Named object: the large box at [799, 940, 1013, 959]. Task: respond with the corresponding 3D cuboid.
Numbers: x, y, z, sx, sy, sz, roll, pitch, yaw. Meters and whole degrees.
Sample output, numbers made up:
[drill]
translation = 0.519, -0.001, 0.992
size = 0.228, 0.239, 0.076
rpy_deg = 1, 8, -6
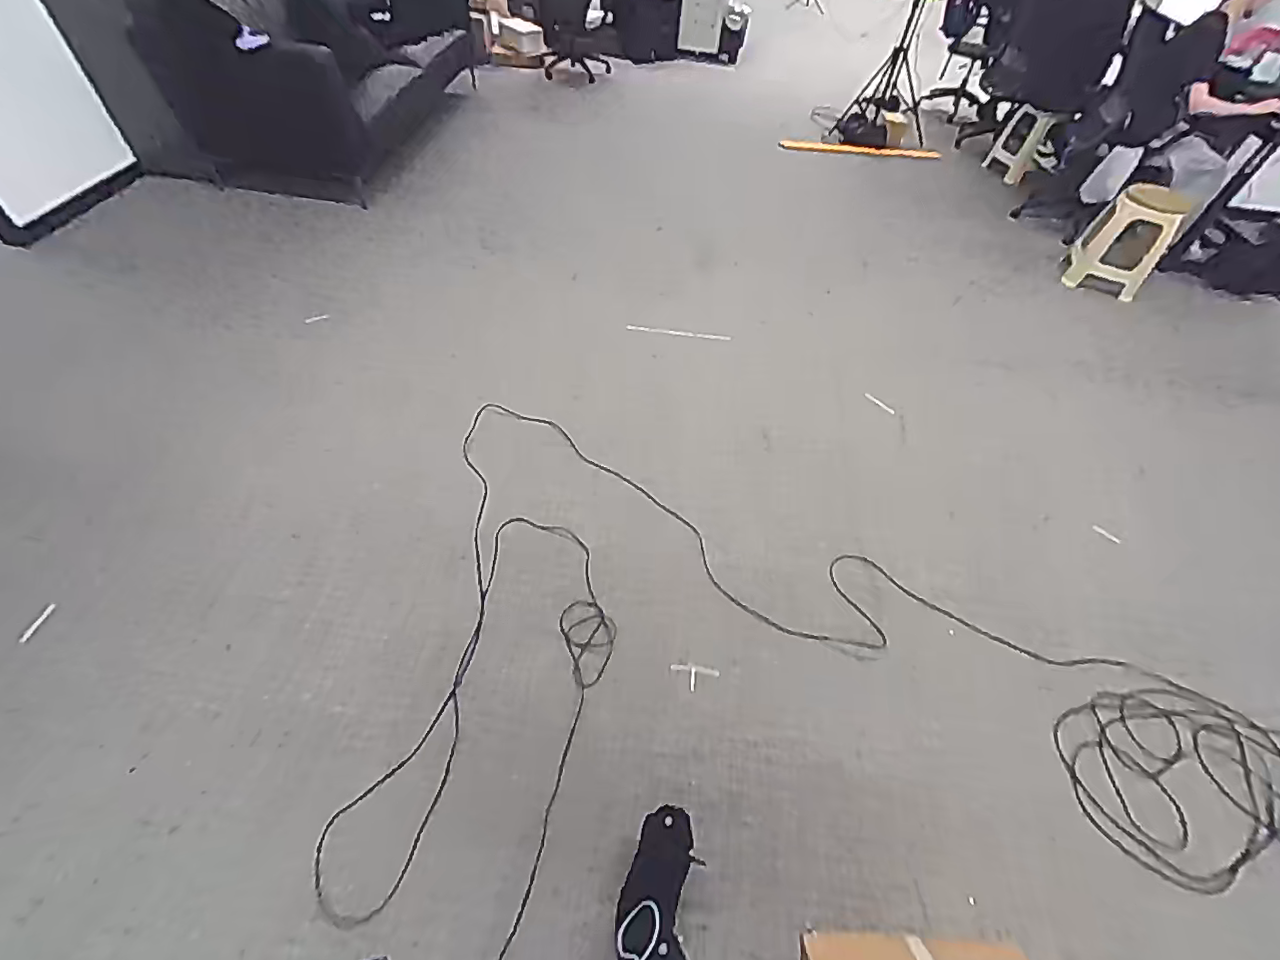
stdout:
[large box]
translation = 0.379, 0.819, 0.581
size = 0.320, 0.408, 0.320
rpy_deg = 4, 88, -1
